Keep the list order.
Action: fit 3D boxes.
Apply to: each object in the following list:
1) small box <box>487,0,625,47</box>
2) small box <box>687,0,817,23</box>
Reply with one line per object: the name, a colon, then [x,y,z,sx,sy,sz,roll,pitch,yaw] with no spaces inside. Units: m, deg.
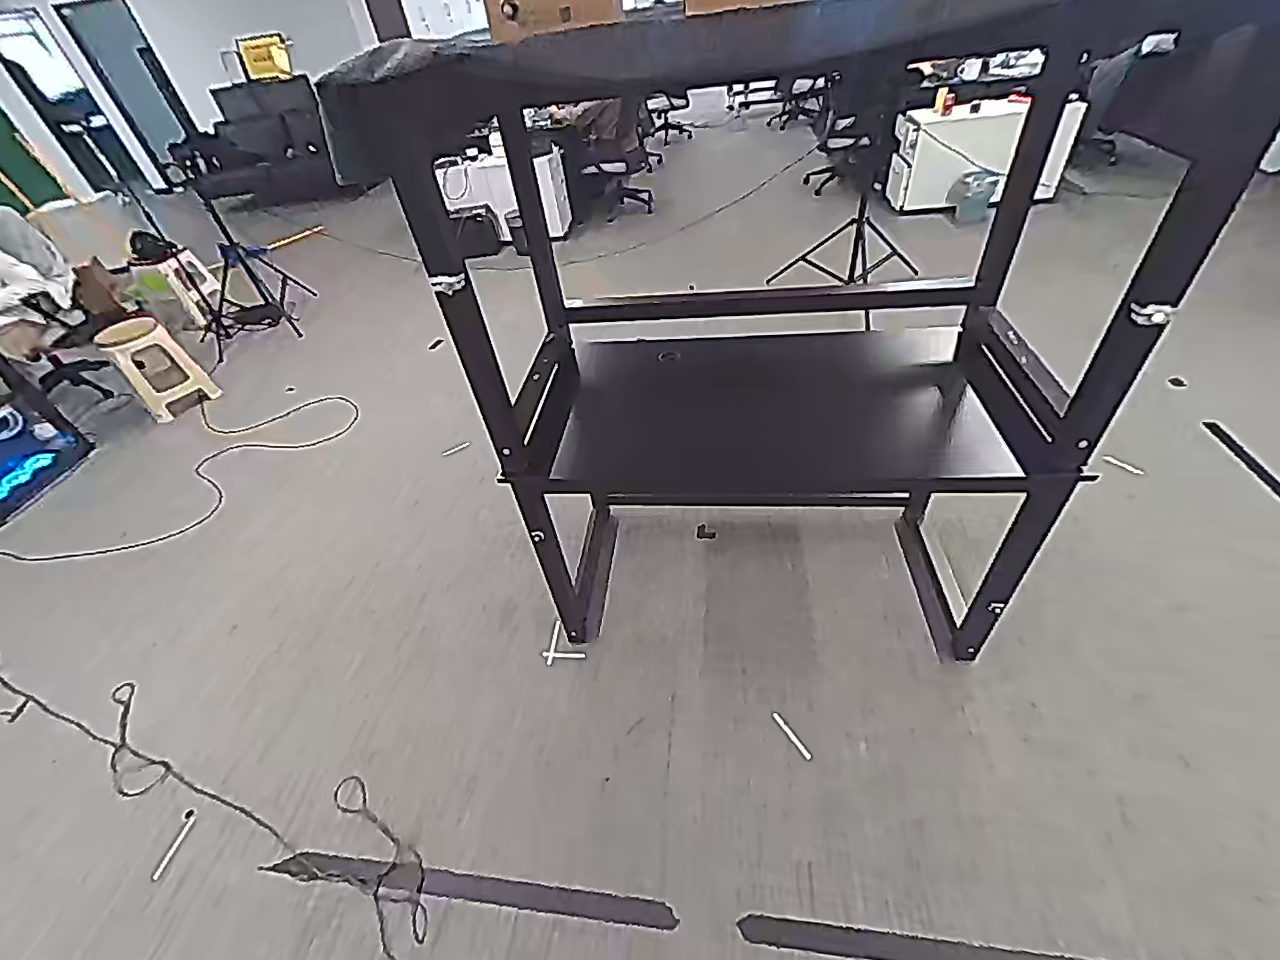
small box: [-0.114,-0.690,0.716,0.168,0.176,0.179,-1,40,6]
small box: [0.140,-0.696,0.685,0.168,0.176,0.179,-1,41,9]
